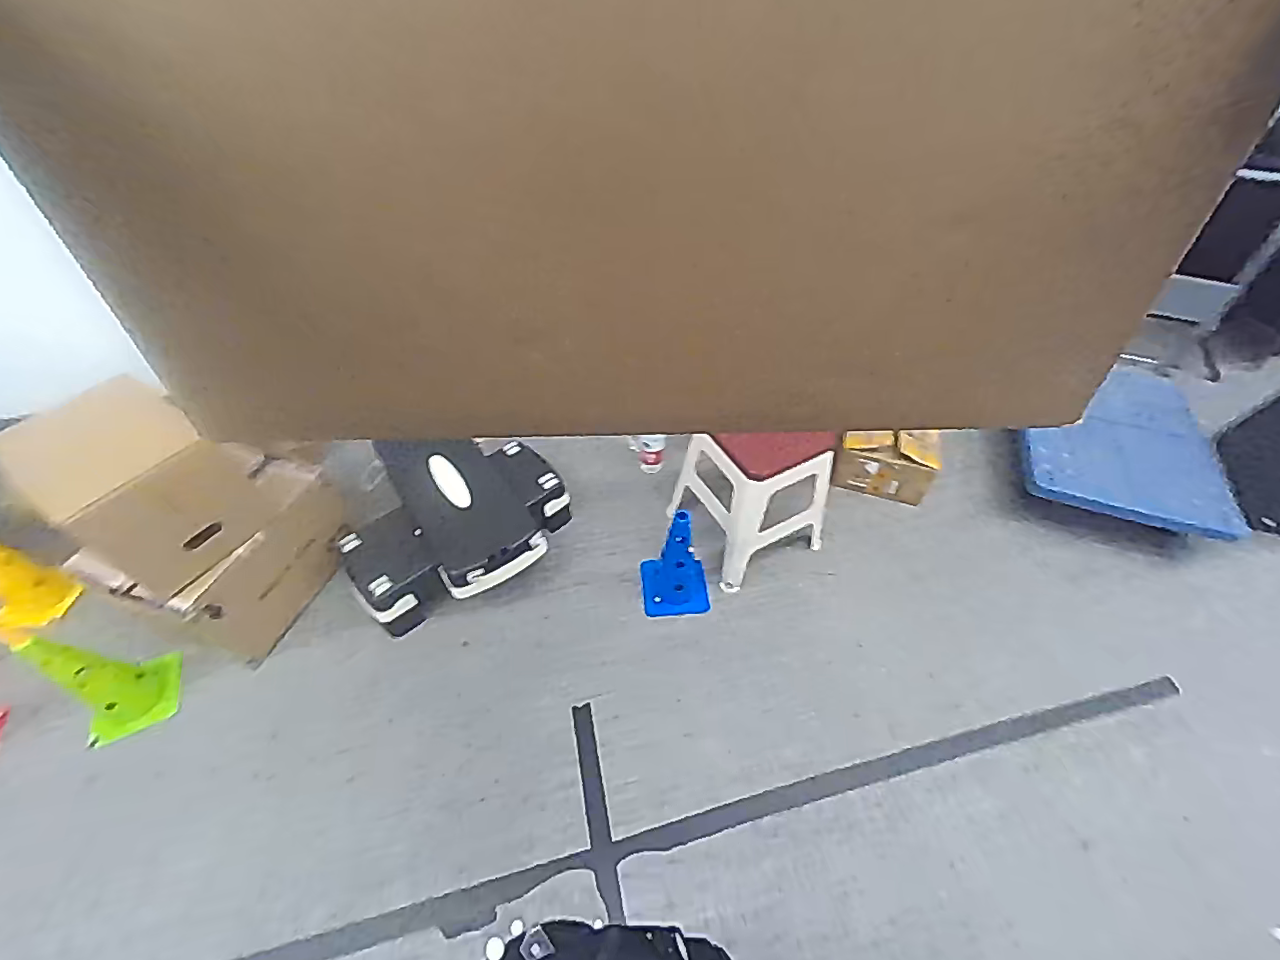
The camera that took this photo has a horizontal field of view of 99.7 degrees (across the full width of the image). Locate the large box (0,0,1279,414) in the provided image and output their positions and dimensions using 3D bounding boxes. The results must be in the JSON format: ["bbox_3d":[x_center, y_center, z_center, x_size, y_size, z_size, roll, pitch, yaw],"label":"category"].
[{"bbox_3d":[-0.001,-0.241,0.267,0.408,0.320,0.320,0,42,0],"label":"large box"}]
